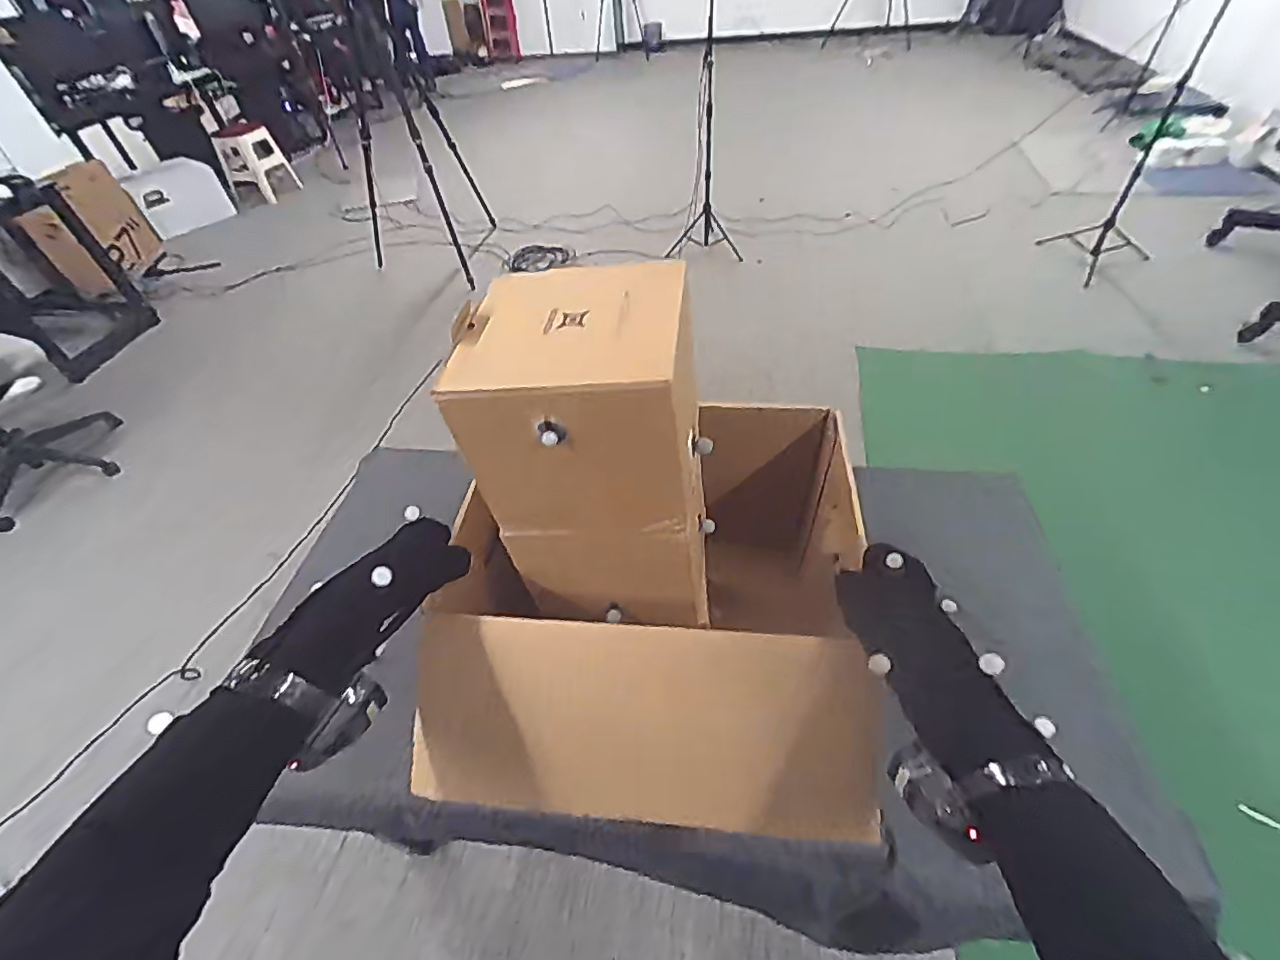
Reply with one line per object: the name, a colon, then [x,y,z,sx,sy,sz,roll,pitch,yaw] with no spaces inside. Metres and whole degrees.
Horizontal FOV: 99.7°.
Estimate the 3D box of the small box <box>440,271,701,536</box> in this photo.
small box: [-0.040,-0.062,0.480,0.179,0.176,0.168,-1,49,9]
